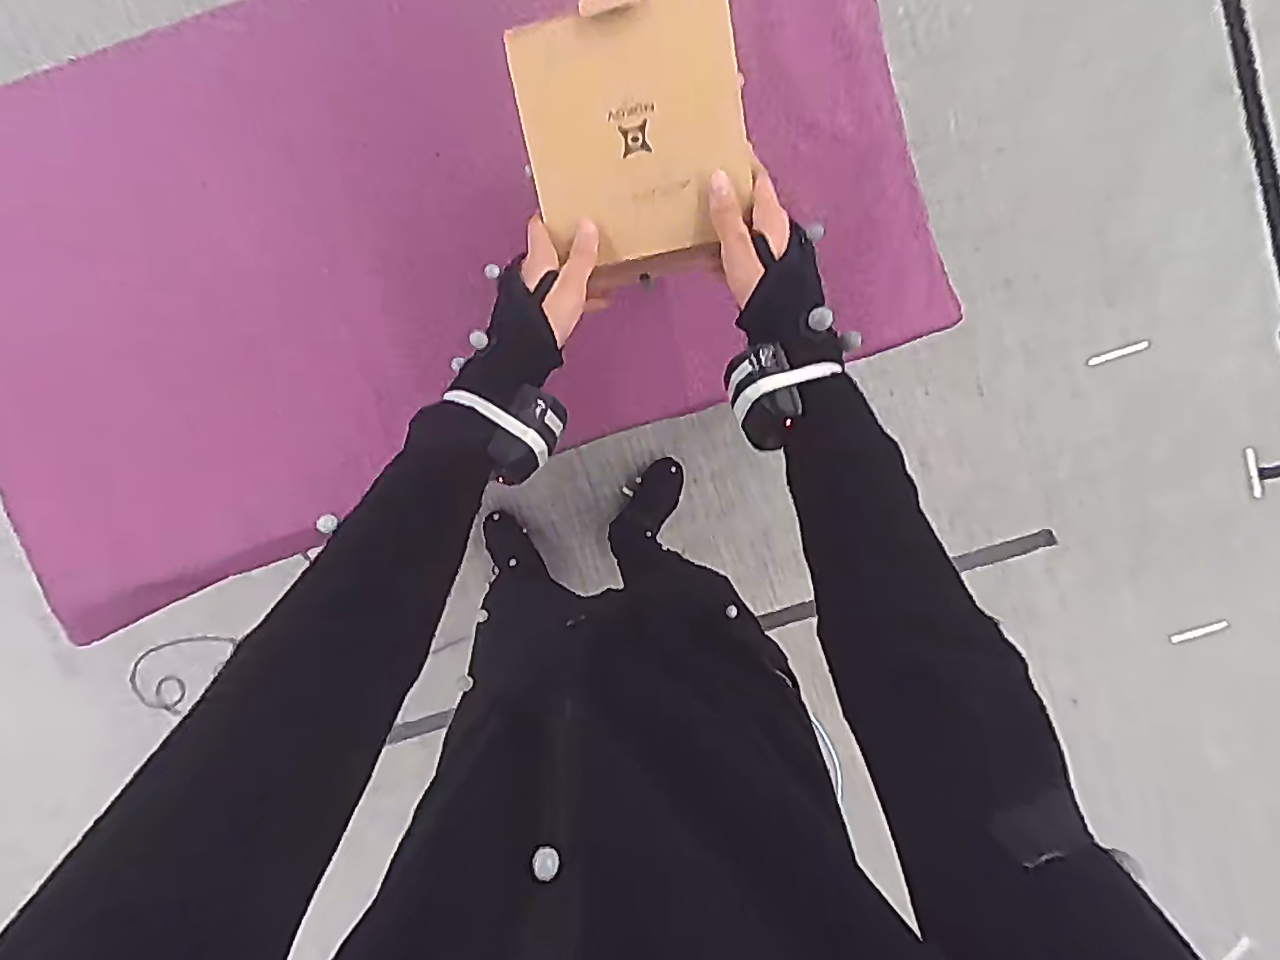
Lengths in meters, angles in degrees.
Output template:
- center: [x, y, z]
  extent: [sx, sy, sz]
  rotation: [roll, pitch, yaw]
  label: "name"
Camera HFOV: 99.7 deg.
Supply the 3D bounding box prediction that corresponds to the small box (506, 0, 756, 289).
- center: [0.001, -0.278, 0.476]
  extent: [0.168, 0.176, 0.179]
  rotation: [-9, 104, 7]
  label: "small box"
